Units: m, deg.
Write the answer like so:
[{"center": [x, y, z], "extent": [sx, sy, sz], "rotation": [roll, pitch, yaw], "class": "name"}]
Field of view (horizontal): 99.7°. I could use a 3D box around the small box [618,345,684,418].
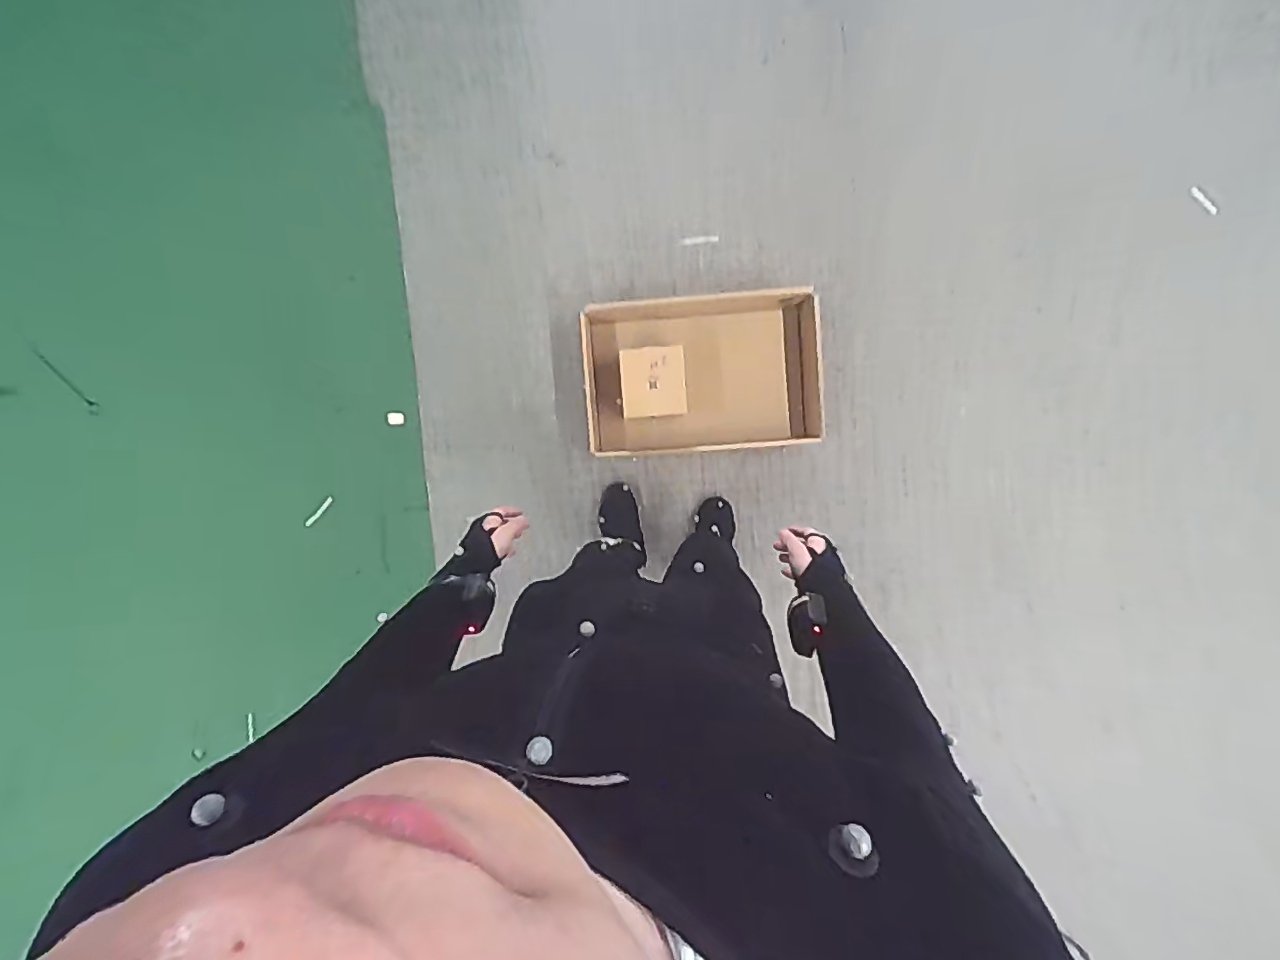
[{"center": [0.031, -0.261, 1.467], "extent": [0.168, 0.176, 0.179], "rotation": [-4, 93, 0], "class": "small box"}]
